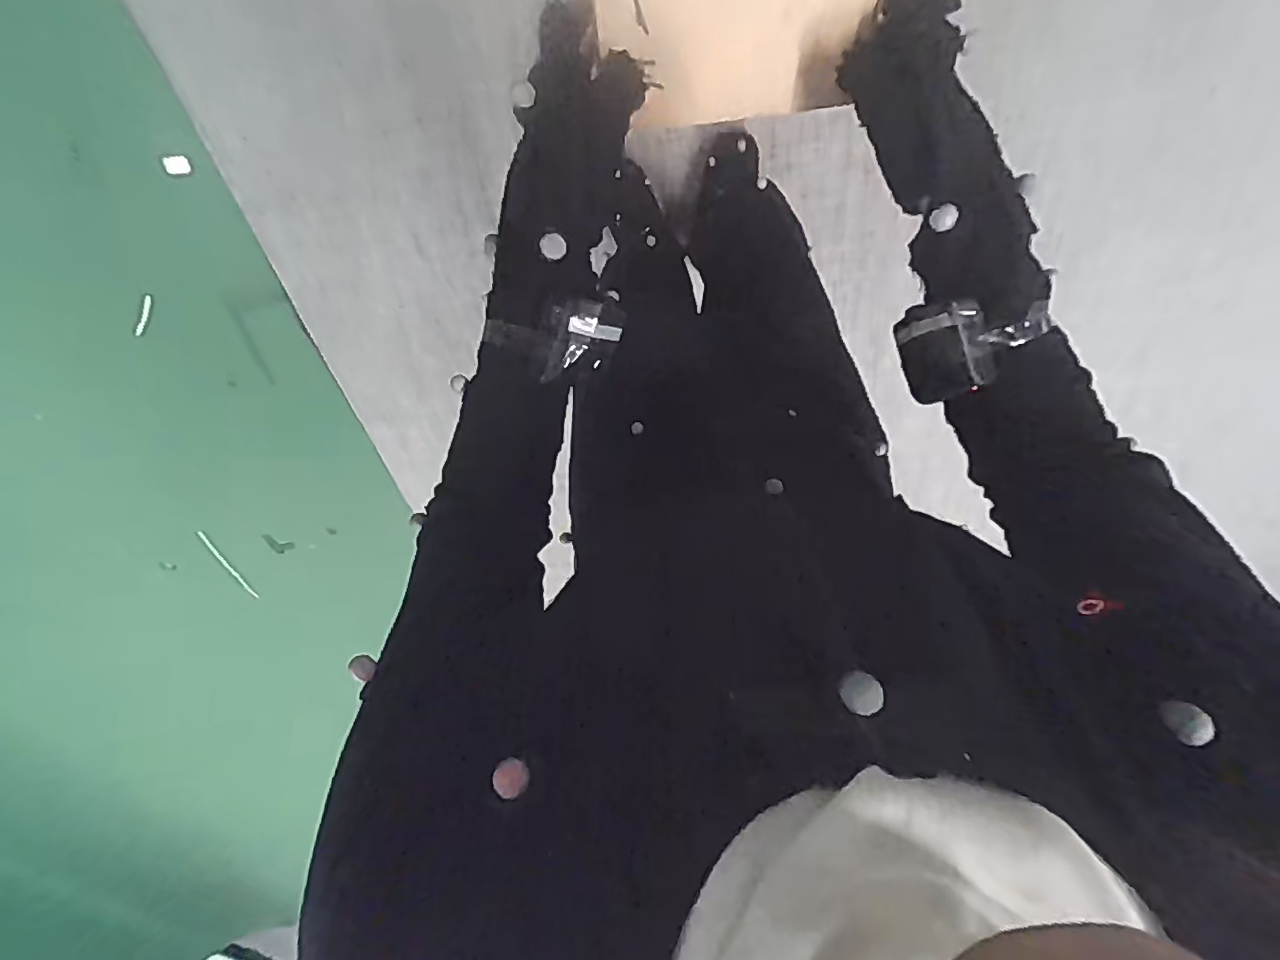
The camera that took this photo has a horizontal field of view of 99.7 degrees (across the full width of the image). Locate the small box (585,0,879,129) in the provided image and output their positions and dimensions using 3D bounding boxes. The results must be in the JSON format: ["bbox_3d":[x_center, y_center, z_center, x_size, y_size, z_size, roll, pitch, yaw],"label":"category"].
[{"bbox_3d":[0.051,-0.364,0.365,0.179,0.176,0.168,-8,138,-1],"label":"small box"}]
